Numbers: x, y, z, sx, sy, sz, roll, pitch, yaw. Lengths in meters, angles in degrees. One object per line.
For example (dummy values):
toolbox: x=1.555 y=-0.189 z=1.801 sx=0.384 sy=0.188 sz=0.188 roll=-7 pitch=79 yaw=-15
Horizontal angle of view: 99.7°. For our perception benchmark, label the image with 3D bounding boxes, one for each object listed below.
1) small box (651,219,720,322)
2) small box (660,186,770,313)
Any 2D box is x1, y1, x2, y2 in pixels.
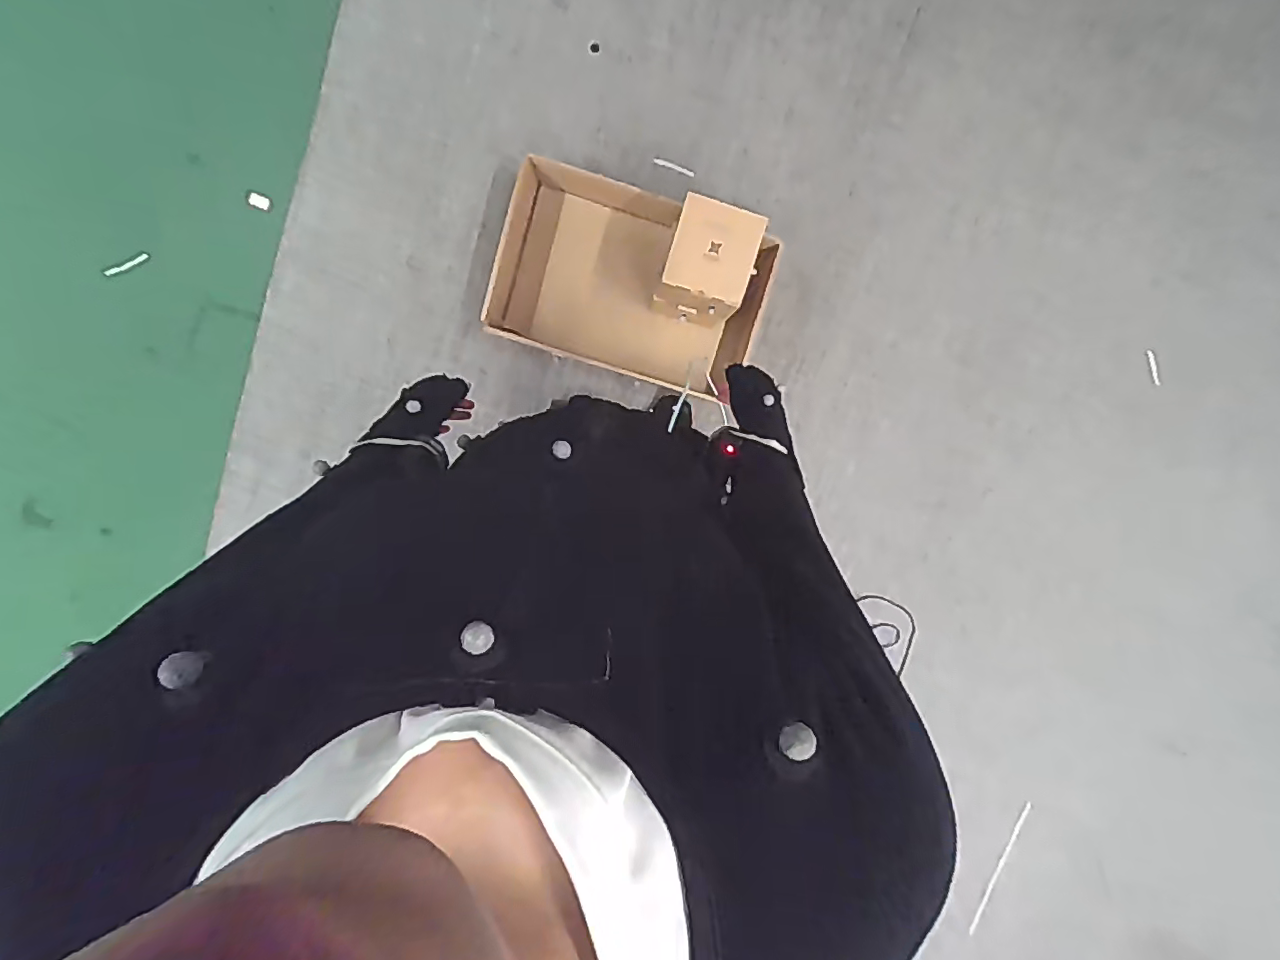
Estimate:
small box: x=0.124 y=-0.483 z=1.278 sx=0.168 sy=0.176 sz=0.179 roll=13 pitch=97 yaw=-2
small box: x=0.142 y=-0.454 z=1.099 sx=0.168 sy=0.176 sz=0.179 roll=17 pitch=98 yaw=-4
